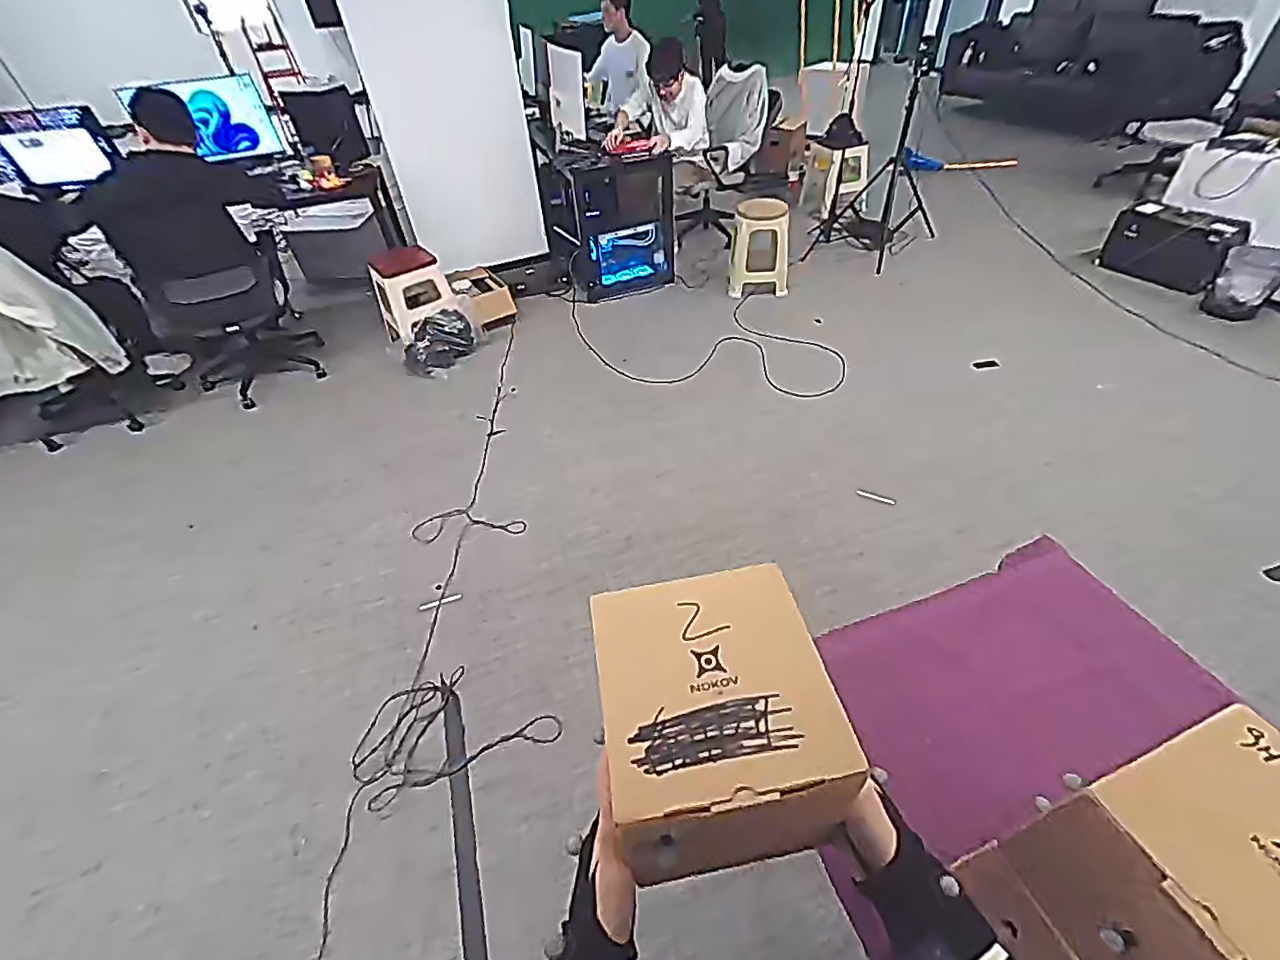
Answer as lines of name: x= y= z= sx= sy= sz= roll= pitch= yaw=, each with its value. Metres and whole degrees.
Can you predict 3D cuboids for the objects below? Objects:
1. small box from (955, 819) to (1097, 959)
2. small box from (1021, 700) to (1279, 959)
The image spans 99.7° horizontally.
small box: x=0.449 y=0.433 z=0.535 sx=0.179 sy=0.176 sz=0.168 roll=-15 pitch=45 yaw=-12
small box: x=0.446 y=0.313 z=0.424 sx=0.179 sy=0.176 sz=0.168 roll=-17 pitch=46 yaw=-13
